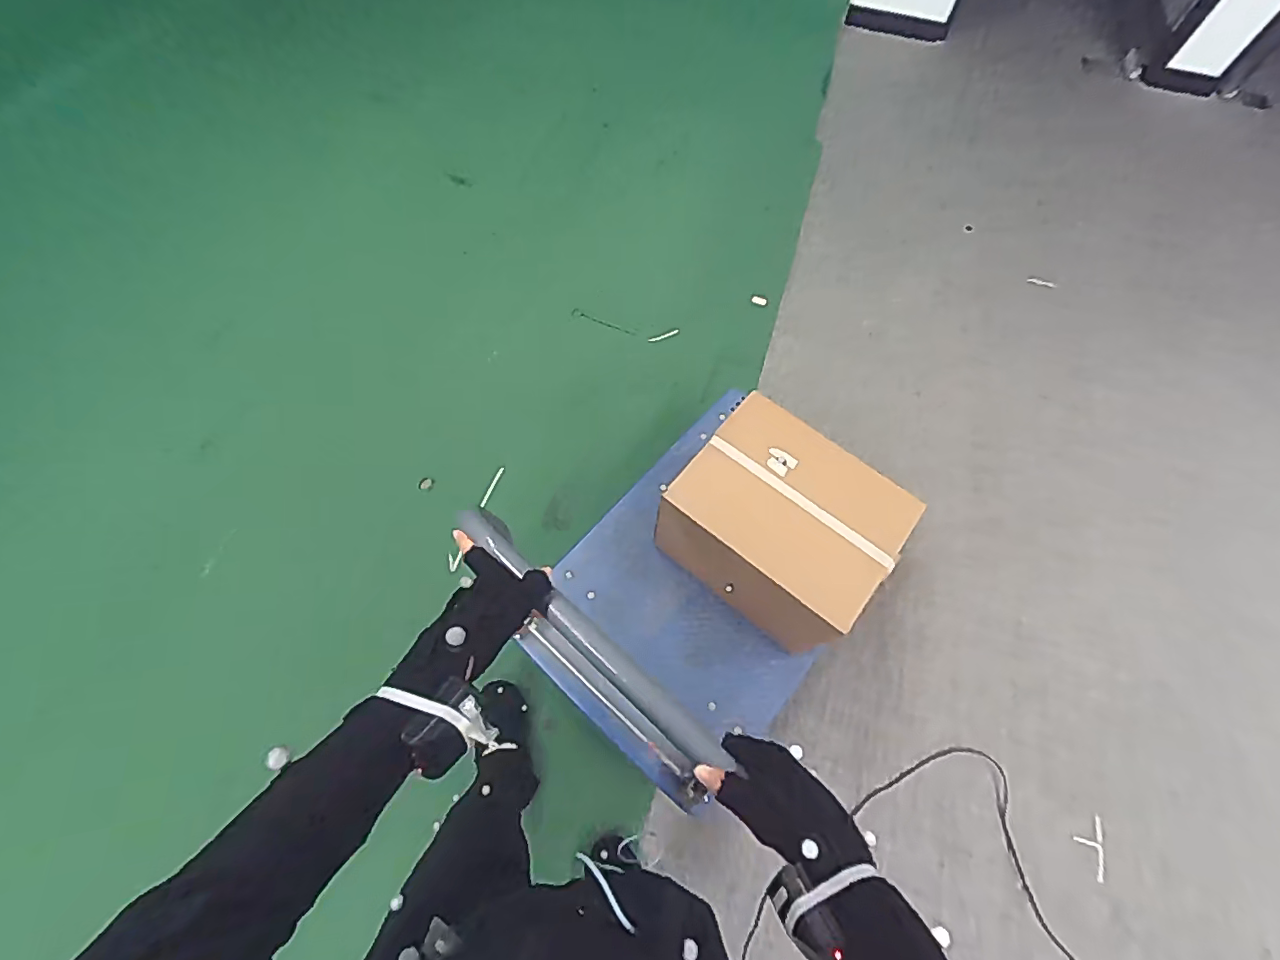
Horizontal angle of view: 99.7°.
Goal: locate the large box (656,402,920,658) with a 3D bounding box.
[{"bbox_3d":[0.283,0.117,1.153,0.408,0.320,0.320,37,69,16],"label":"large box"}]
